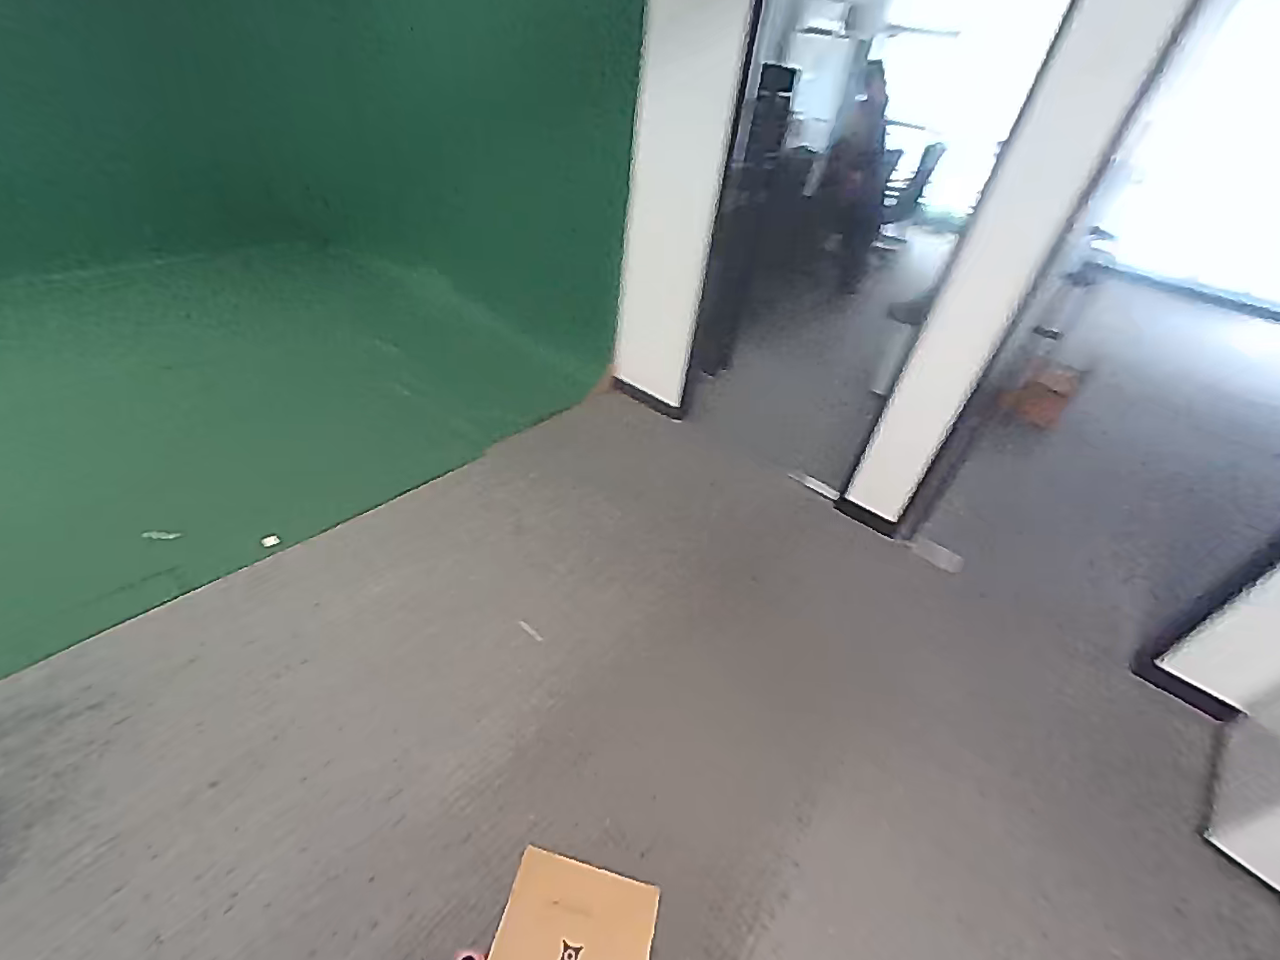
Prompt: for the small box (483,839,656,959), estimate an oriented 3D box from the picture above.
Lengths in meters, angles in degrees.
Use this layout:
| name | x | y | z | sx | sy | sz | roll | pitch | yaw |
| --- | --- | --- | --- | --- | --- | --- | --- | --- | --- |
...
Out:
| name | x | y | z | sx | sy | sz | roll | pitch | yaw |
| --- | --- | --- | --- | --- | --- | --- | --- | --- | --- |
| small box | -0.088 | 0.558 | 0.617 | 0.168 | 0.176 | 0.179 | 14 | 38 | 4 |
